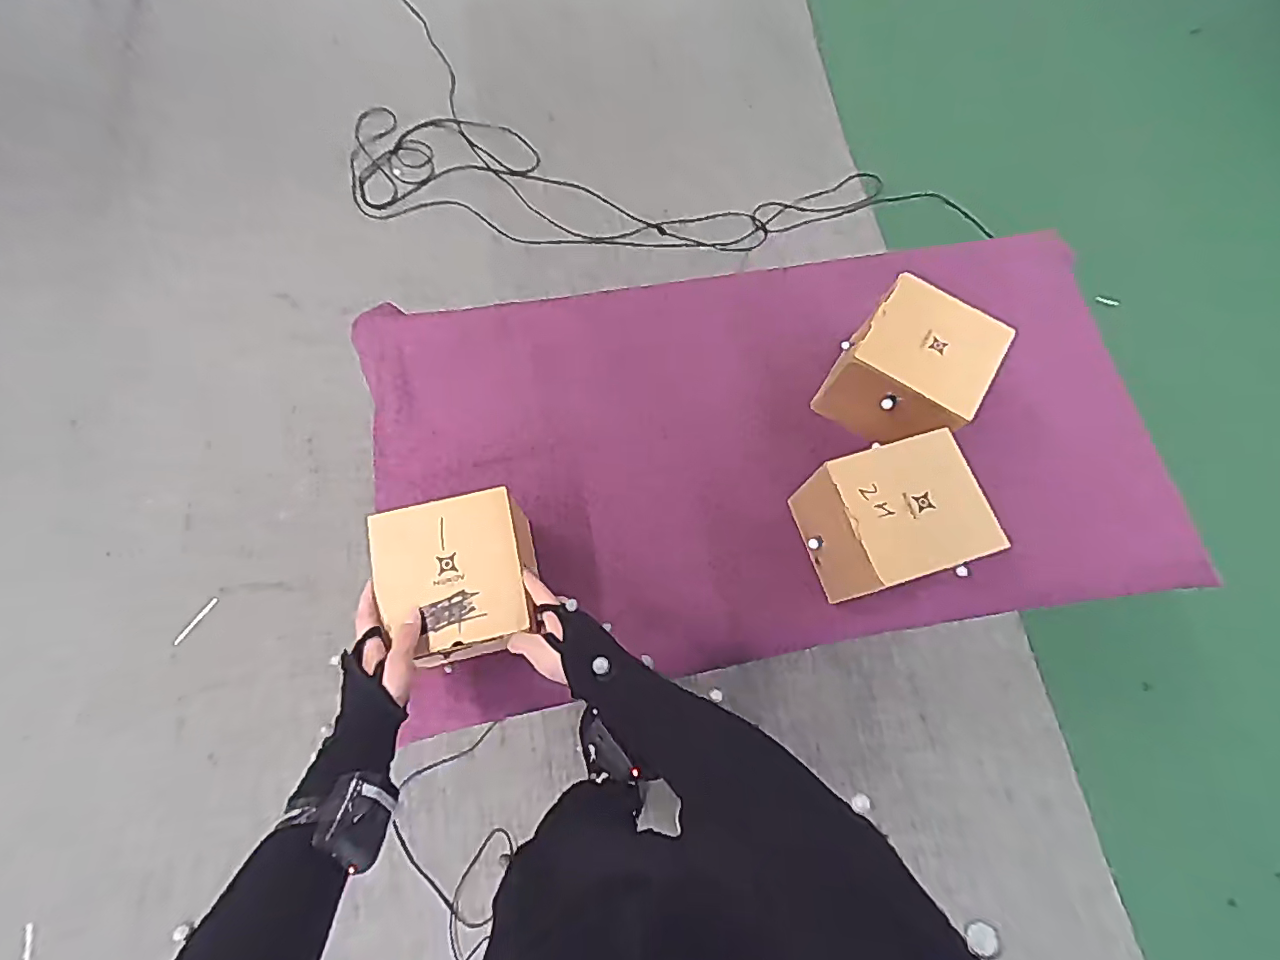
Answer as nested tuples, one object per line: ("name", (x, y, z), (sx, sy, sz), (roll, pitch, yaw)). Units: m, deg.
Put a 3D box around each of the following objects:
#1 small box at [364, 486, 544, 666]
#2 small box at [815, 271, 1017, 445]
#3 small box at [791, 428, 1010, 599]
("small box", (-0.224, 0.128, 0.686), (0.168, 0.176, 0.179), (-12, 72, -6))
("small box", (0.392, -0.162, 0.798), (0.179, 0.176, 0.168), (32, 75, 9))
("small box", (0.331, 0.053, 0.726), (0.179, 0.176, 0.168), (-16, 72, -6))
